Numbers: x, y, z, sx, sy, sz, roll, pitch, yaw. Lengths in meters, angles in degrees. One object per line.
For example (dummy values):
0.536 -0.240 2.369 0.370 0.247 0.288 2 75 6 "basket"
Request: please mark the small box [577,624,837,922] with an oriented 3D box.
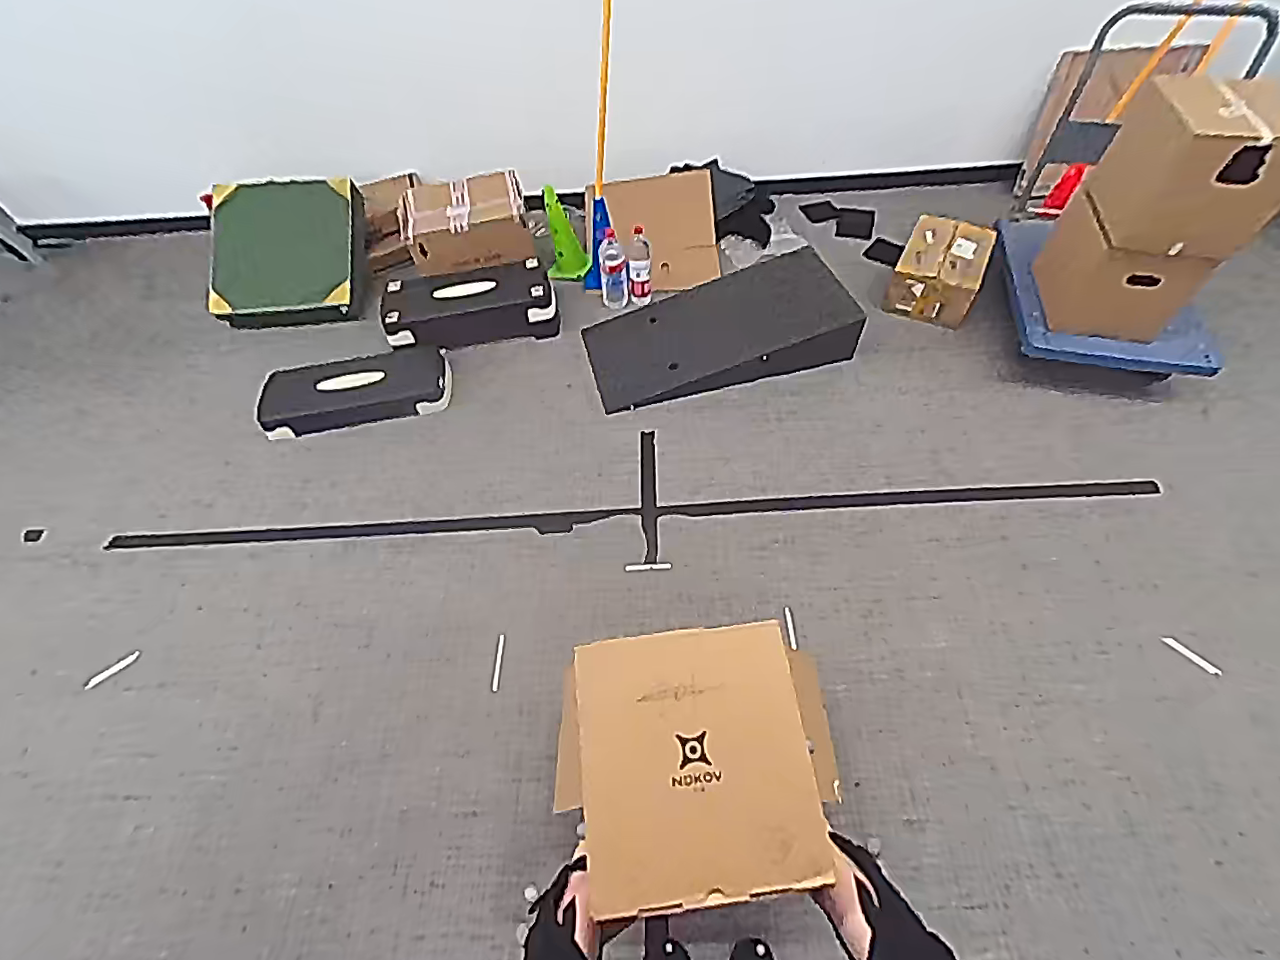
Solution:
0.043 0.233 0.456 0.168 0.176 0.179 -7 63 -1 "small box"
